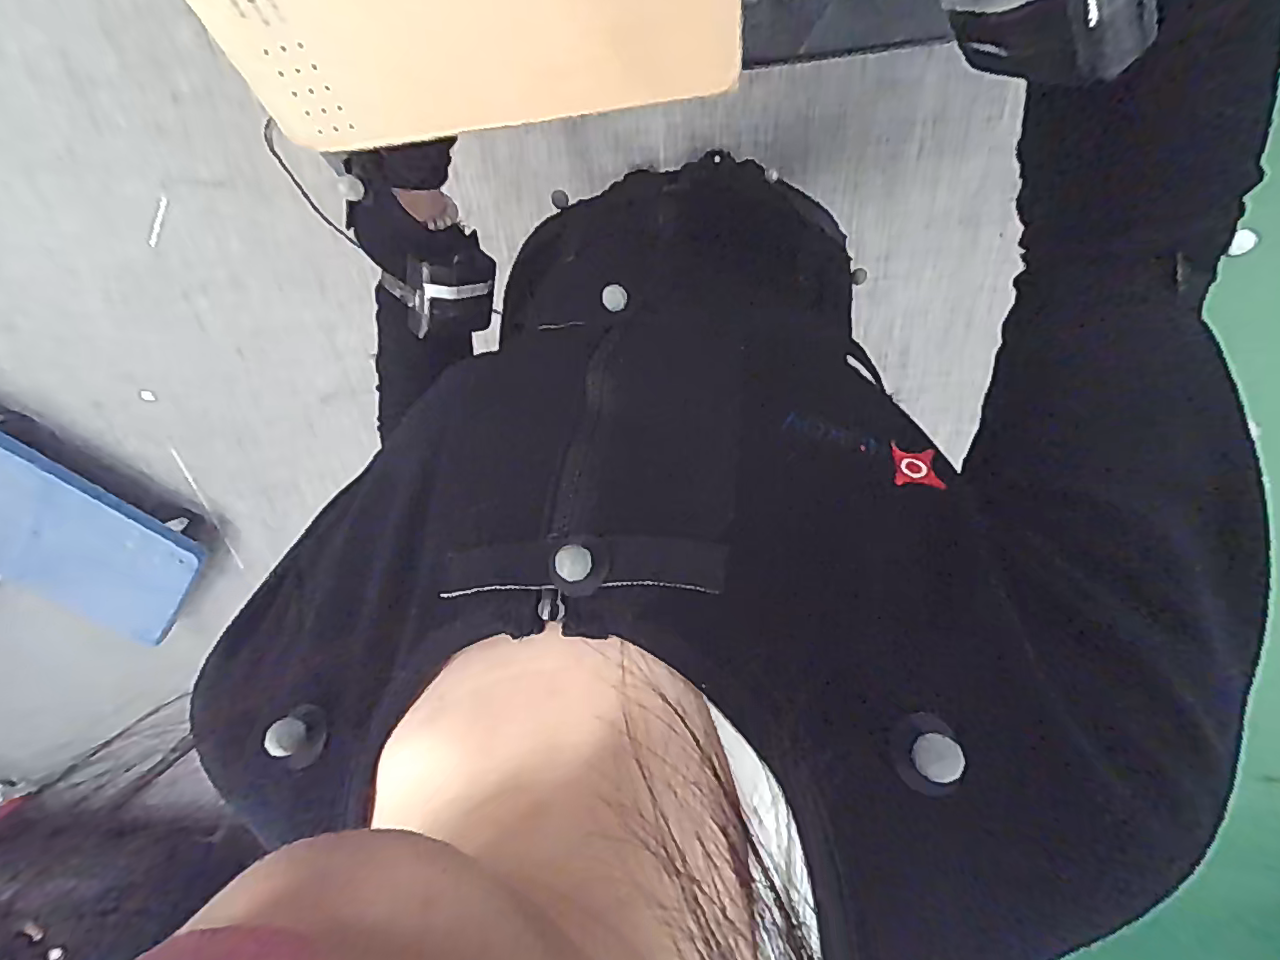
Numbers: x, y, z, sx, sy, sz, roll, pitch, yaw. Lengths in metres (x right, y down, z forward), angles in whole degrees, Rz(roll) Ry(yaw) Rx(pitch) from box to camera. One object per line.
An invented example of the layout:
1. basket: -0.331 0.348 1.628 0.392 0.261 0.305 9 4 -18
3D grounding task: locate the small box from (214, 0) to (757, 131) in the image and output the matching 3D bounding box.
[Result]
1. small box: -0.054 -0.243 0.163 0.176 0.179 0.168 -2 152 10
